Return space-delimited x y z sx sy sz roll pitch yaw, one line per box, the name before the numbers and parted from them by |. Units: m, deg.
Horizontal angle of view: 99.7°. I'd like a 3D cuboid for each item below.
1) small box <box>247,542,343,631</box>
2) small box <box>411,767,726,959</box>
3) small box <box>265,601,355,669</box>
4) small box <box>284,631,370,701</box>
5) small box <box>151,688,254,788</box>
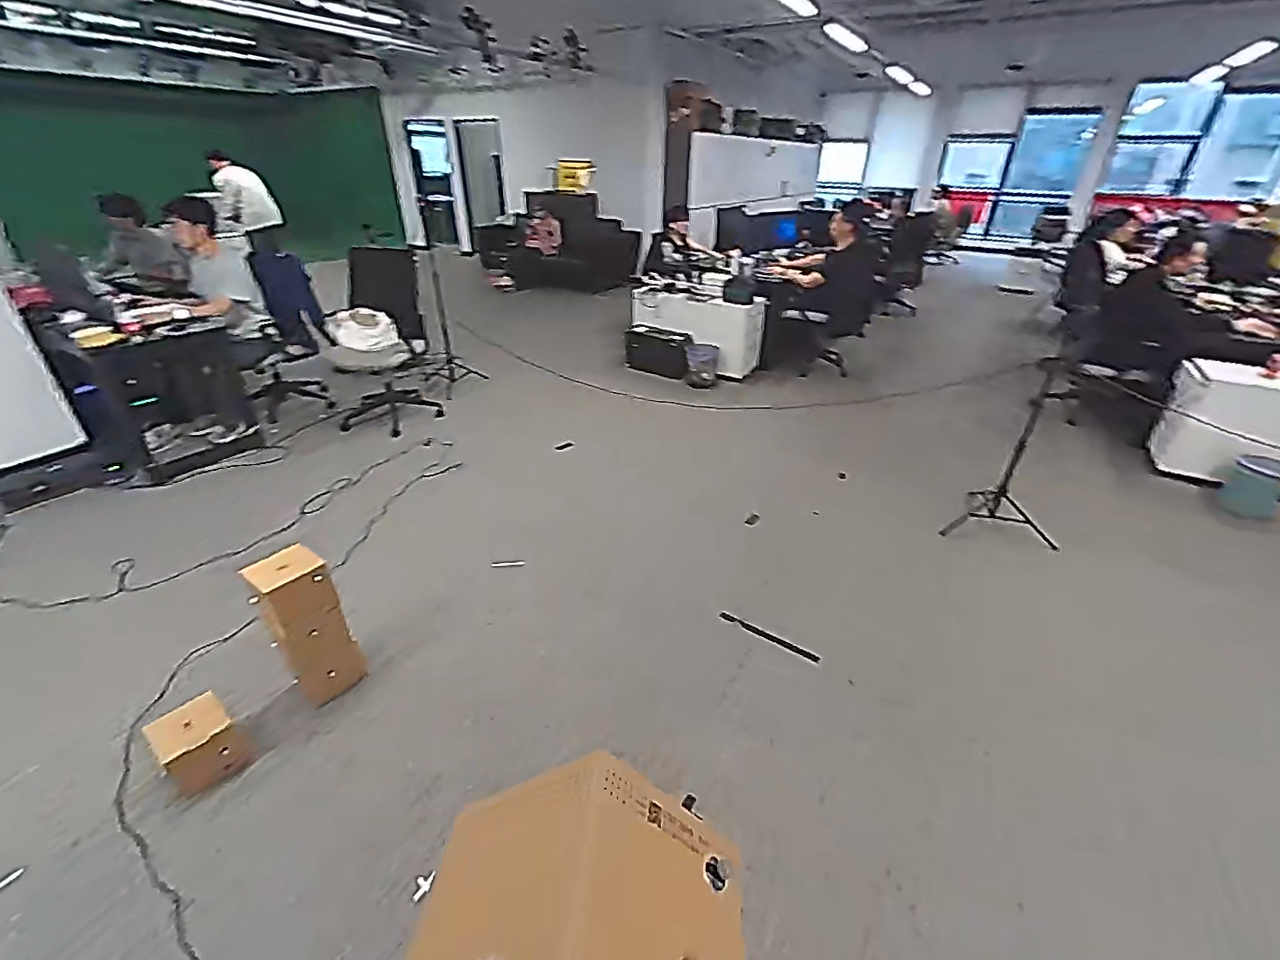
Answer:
small box | -1.045 0.325 1.647 0.168 0.176 0.179 21 35 31
small box | -0.051 0.337 0.383 0.179 0.168 0.176 -35 22 25
small box | -1.049 0.467 1.728 0.168 0.176 0.179 23 37 32
small box | -1.048 0.604 1.820 0.168 0.176 0.179 22 37 30
small box | -1.260 0.752 1.566 0.179 0.176 0.168 24 37 33
